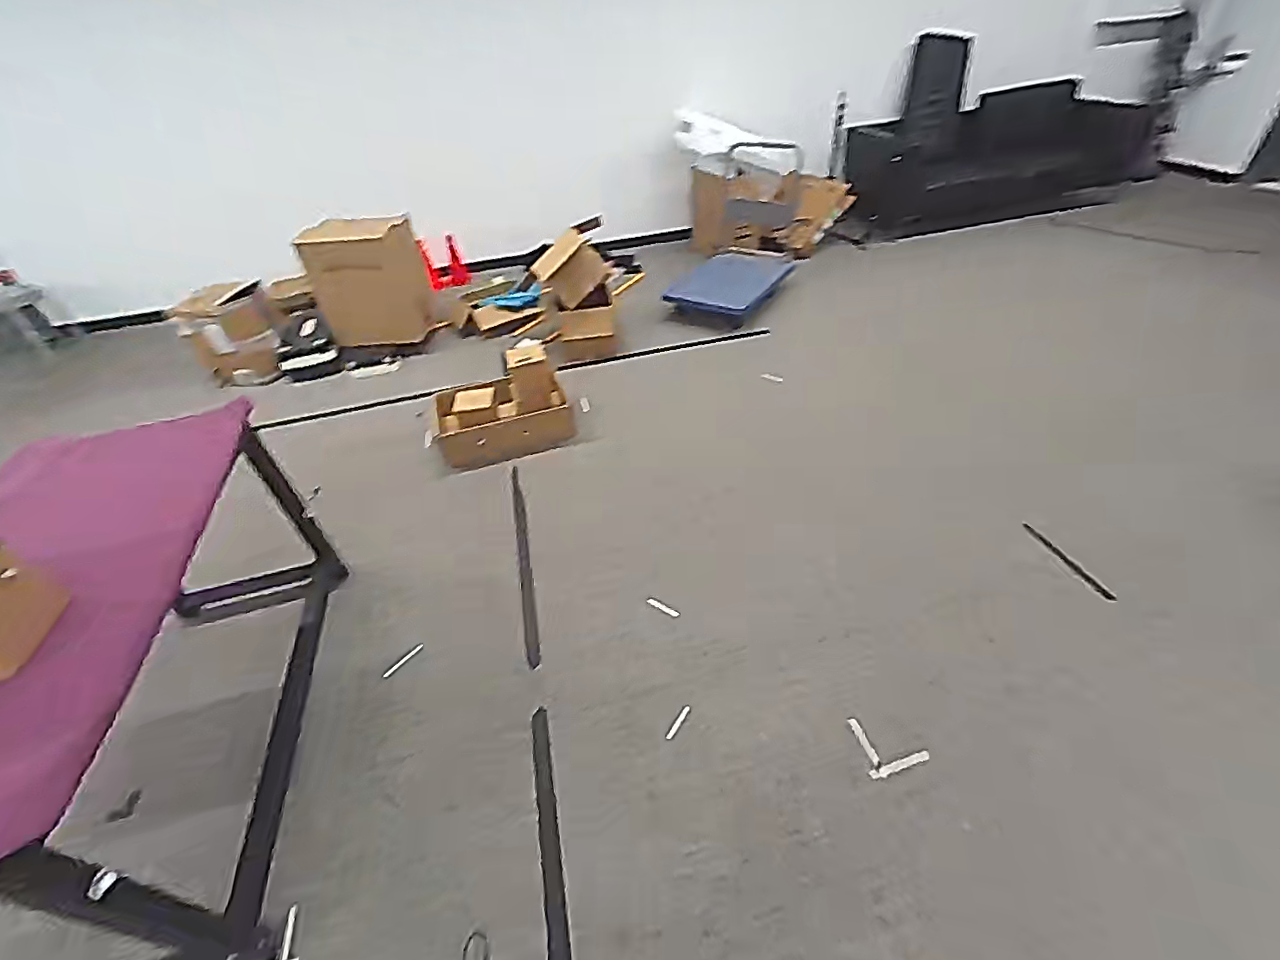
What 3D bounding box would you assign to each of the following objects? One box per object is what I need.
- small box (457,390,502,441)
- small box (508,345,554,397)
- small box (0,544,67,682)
[{"bbox_3d":[-0.764,-0.310,2.588,0.168,0.176,0.179,-8,40,-4],"label":"small box"},{"bbox_3d":[-0.510,-0.504,2.528,0.168,0.176,0.179,-16,40,-11],"label":"small box"},{"bbox_3d":[-1.182,0.245,0.945,0.168,0.176,0.179,-13,41,-7],"label":"small box"}]
